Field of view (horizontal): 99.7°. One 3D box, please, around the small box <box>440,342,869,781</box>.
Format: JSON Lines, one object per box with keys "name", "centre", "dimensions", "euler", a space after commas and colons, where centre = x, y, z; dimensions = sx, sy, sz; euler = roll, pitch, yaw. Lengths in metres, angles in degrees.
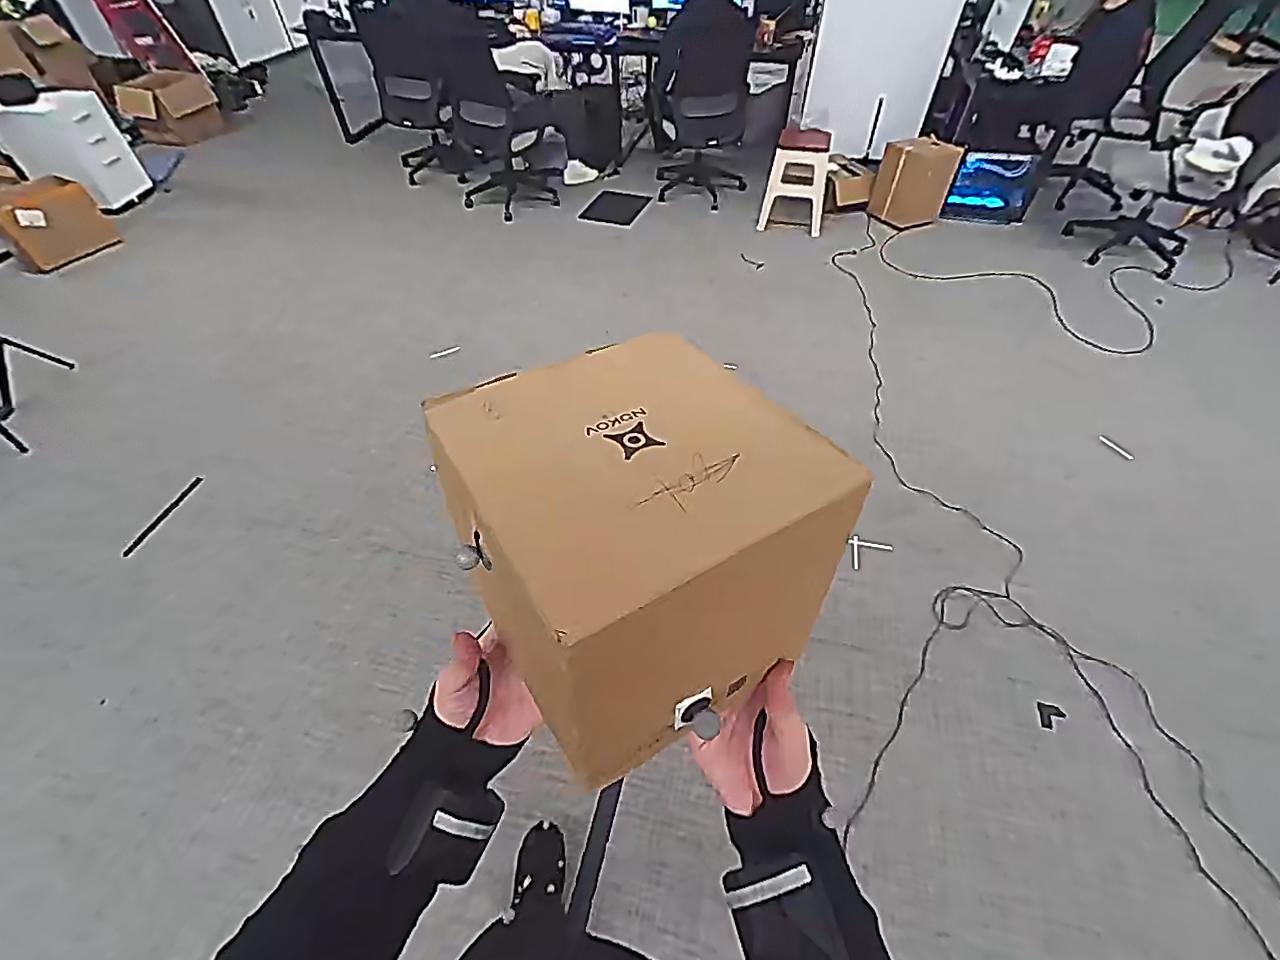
{"name": "small box", "centre": [-0.002, 0.043, 0.338], "dimensions": [0.168, 0.176, 0.179], "euler": [-24, 49, -24]}
